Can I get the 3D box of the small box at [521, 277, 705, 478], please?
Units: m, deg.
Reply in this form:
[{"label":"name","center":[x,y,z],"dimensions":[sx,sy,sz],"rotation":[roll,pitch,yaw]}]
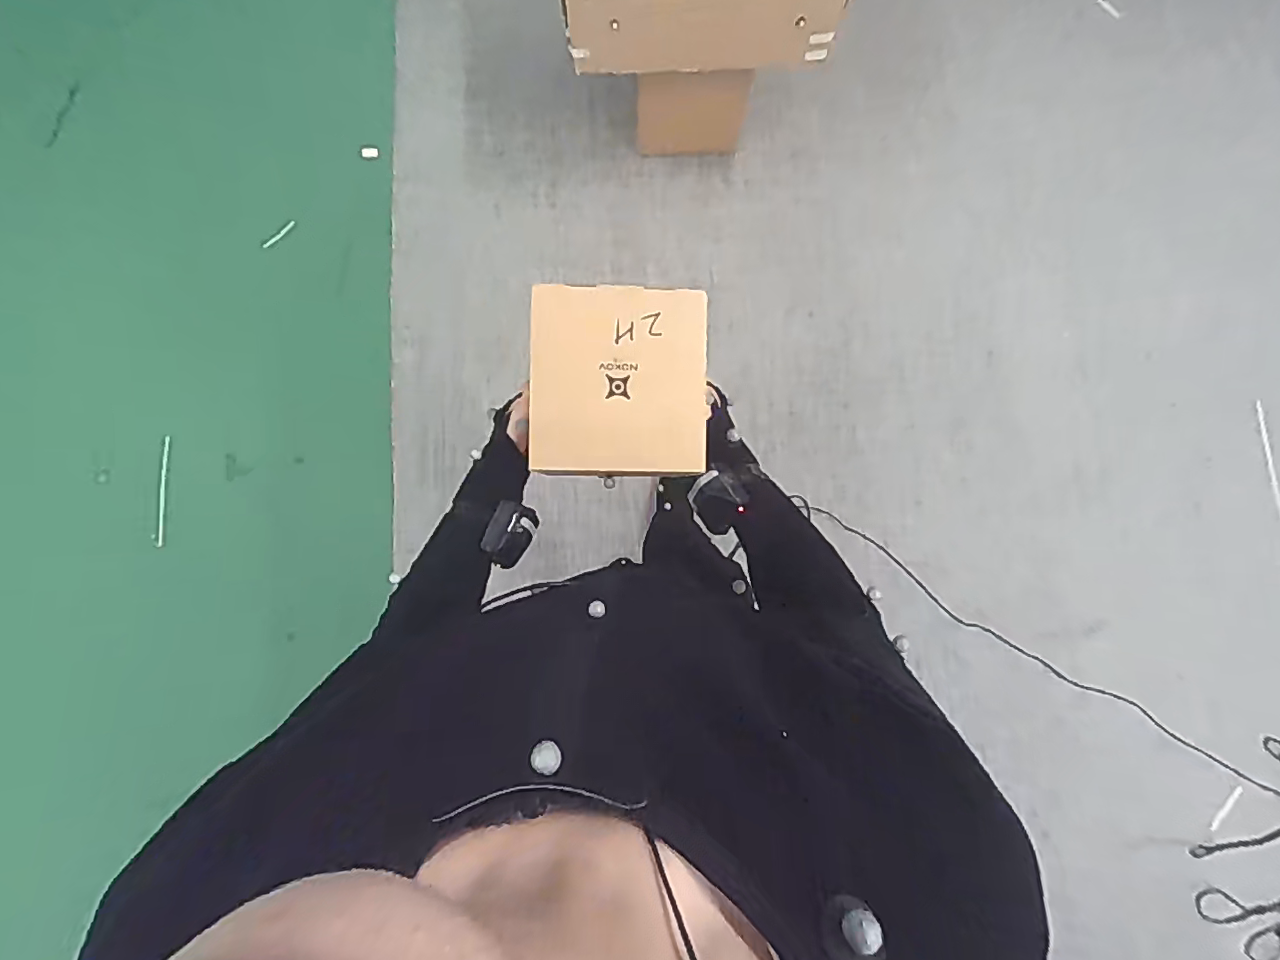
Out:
[{"label":"small box","center":[-0.028,-0.093,0.571],"dimensions":[0.168,0.176,0.179],"rotation":[1,87,-4]}]
